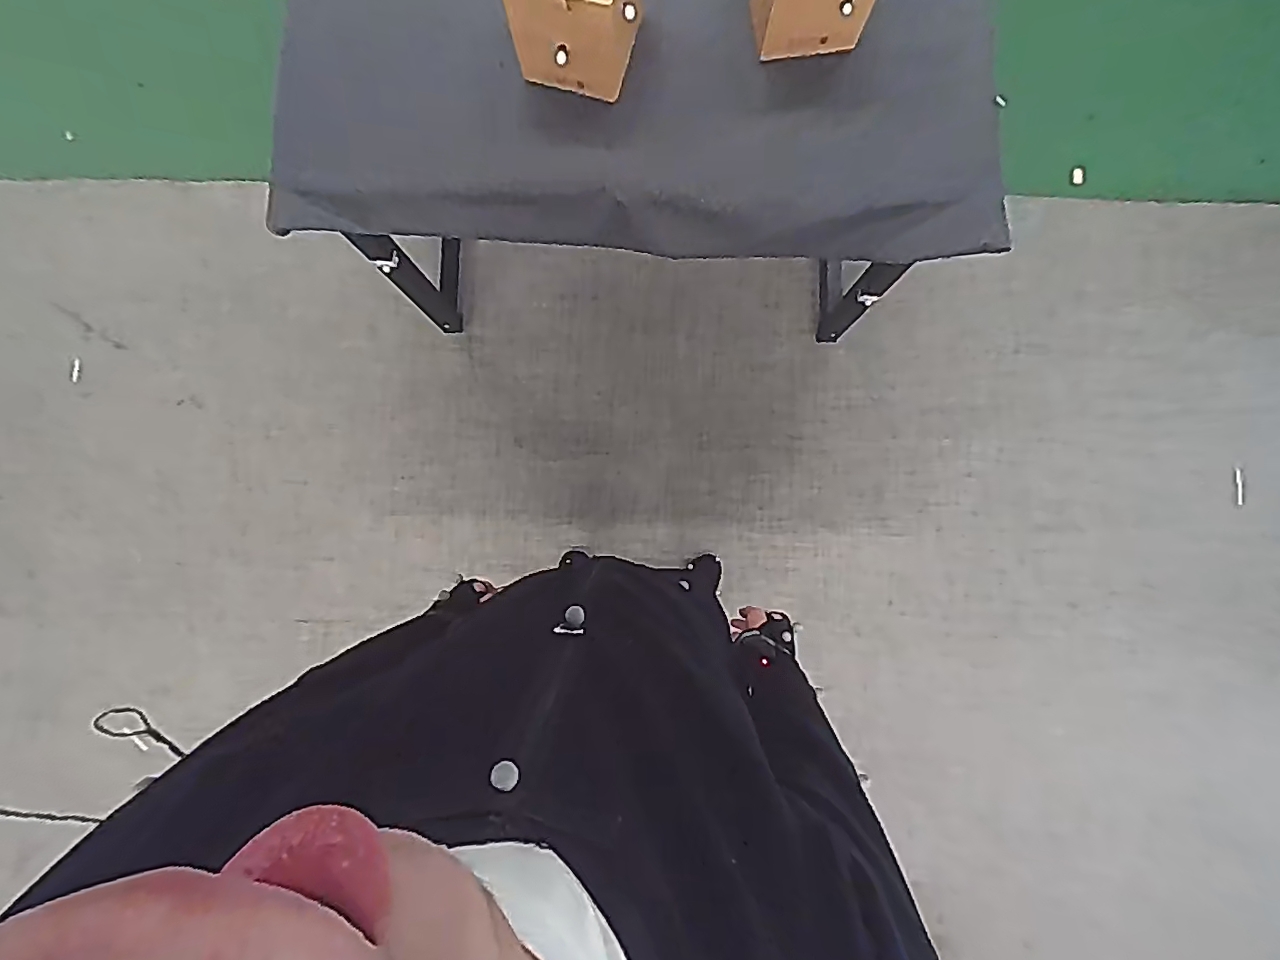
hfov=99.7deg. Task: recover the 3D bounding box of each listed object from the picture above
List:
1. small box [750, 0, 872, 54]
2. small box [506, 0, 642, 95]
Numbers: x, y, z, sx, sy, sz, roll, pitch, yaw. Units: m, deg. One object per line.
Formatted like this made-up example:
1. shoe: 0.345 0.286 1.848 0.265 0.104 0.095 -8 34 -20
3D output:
1. small box: 0.273 -0.812 0.848 0.168 0.176 0.179 -7 84 -2
2. small box: -0.093 -0.749 0.837 0.168 0.176 0.179 16 85 0
